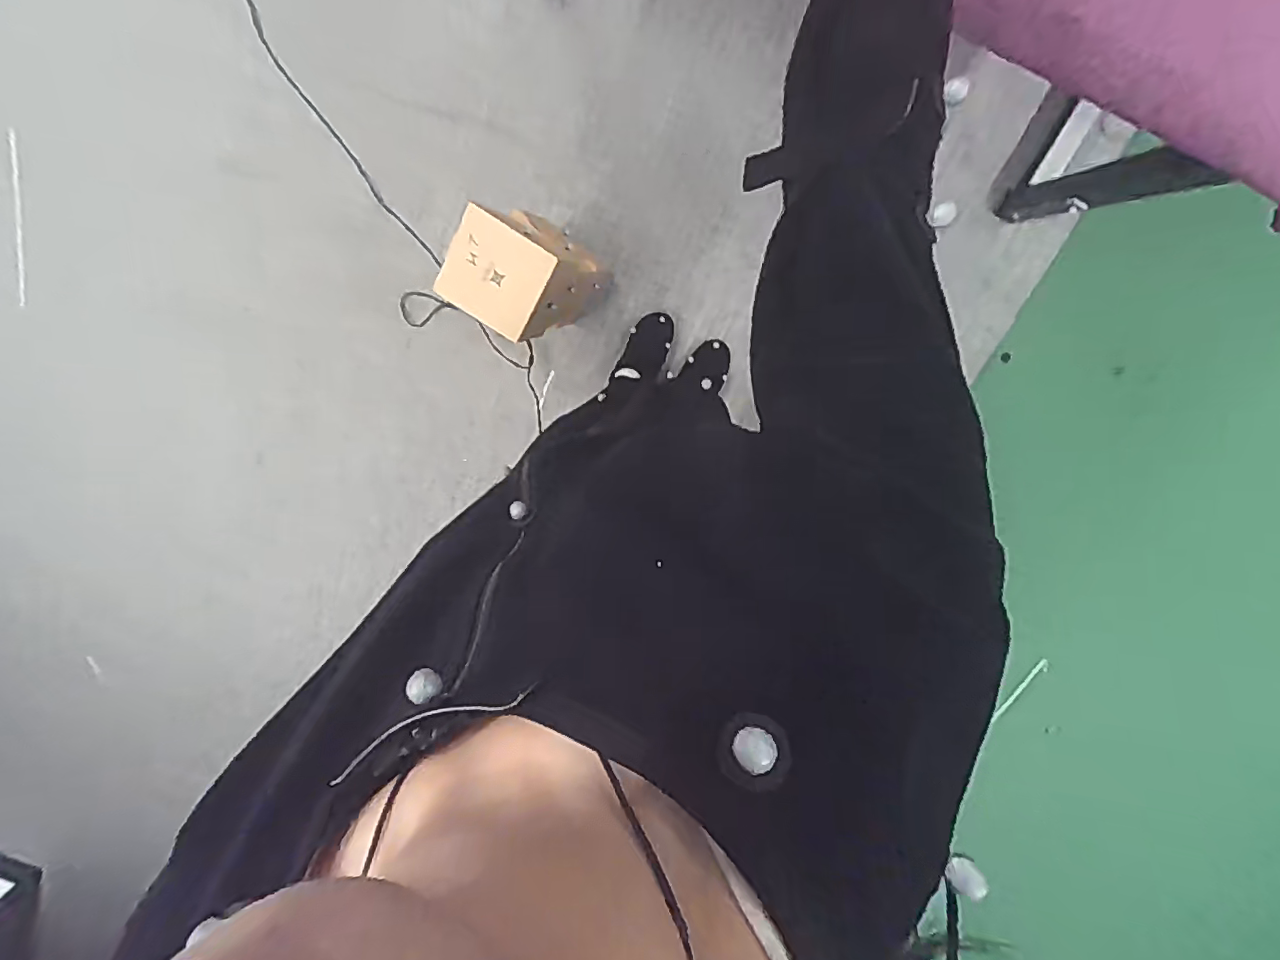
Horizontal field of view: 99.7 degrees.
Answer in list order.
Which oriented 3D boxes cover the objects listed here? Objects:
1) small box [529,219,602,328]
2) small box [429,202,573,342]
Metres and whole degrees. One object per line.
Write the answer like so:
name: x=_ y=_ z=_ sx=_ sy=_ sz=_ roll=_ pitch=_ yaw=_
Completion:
small box: x=-0.208 y=-0.492 z=1.298 sx=0.168 sy=0.176 sz=0.179 roll=39 pitch=110 yaw=-8
small box: x=-0.244 y=-0.377 z=0.995 sx=0.179 sy=0.176 sz=0.168 roll=32 pitch=109 yaw=-5
